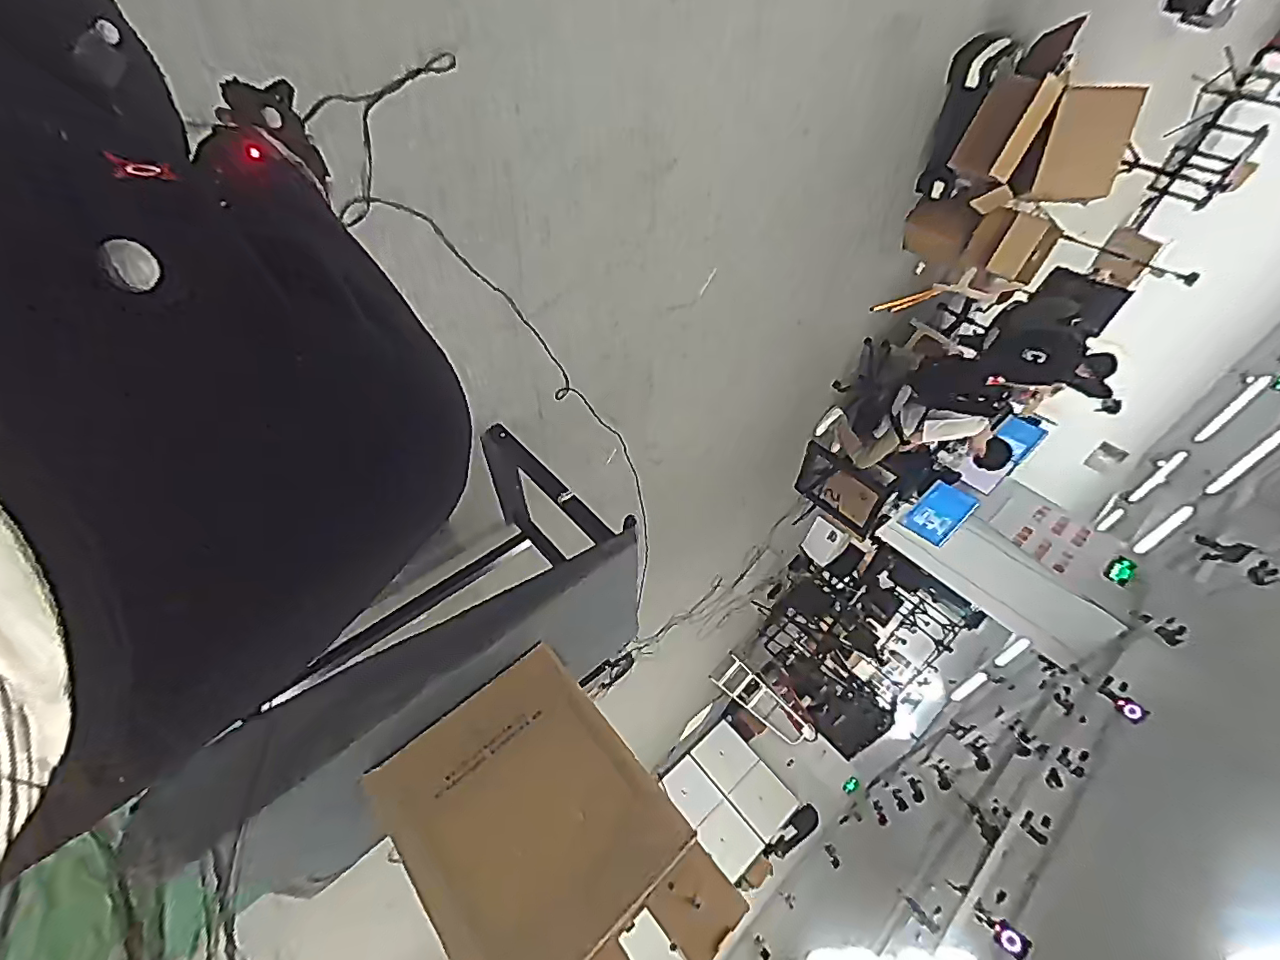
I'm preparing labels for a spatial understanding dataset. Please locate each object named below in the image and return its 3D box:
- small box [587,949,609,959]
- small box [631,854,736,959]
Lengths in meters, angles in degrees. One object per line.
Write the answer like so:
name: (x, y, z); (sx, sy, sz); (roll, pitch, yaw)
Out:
small box: (-0.095, 1.104, 1.099); (0.168, 0.176, 0.179); (-32, 146, -25)
small box: (0.091, 0.983, 1.212); (0.168, 0.176, 0.179); (-34, 145, -27)
